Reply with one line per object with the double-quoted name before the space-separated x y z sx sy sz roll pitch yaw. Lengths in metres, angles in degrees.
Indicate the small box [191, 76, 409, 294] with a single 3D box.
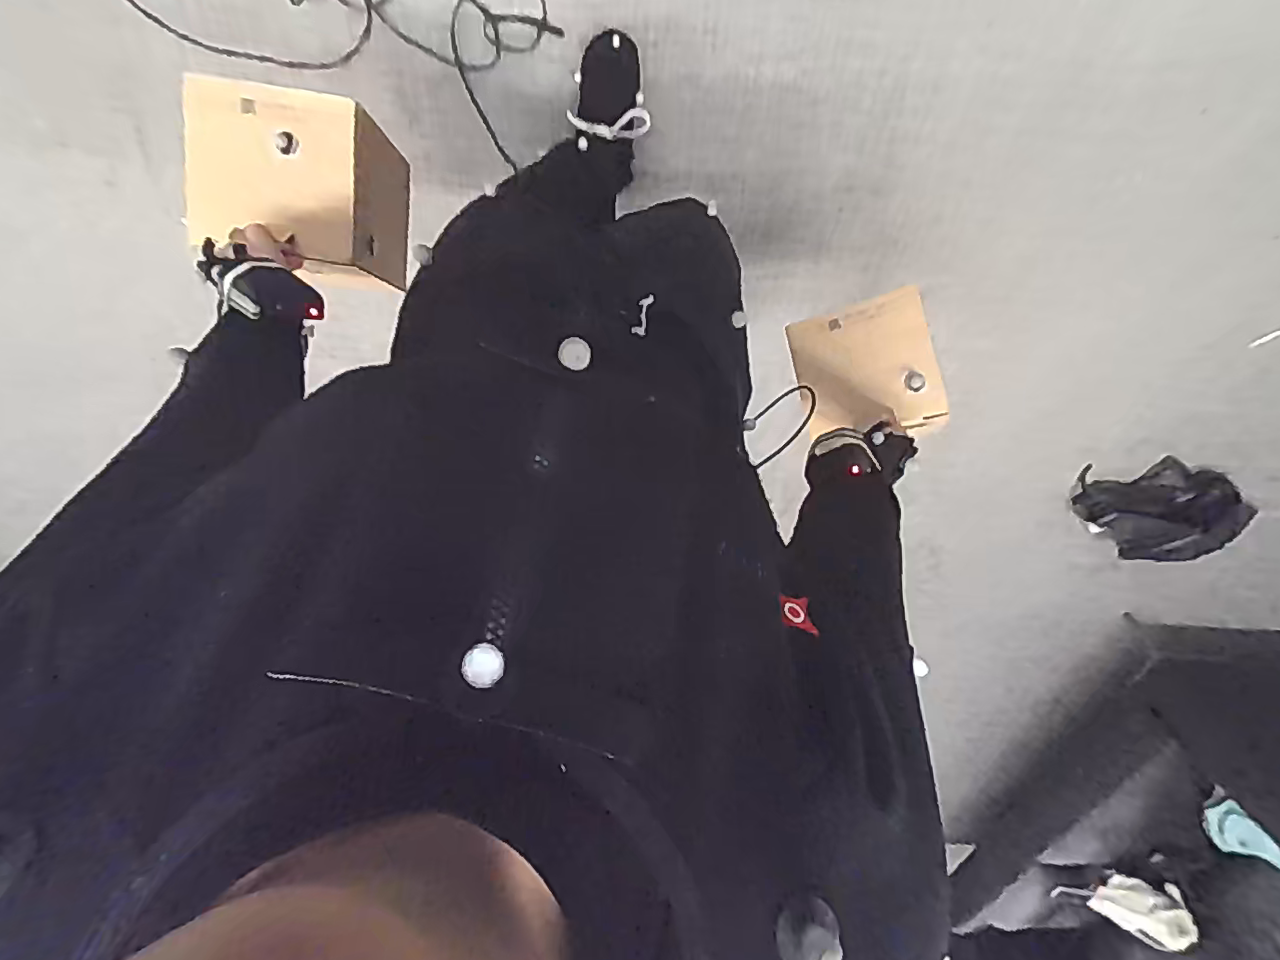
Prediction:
"small box" -0.385 -0.330 0.640 0.168 0.179 0.176 6 101 -6
